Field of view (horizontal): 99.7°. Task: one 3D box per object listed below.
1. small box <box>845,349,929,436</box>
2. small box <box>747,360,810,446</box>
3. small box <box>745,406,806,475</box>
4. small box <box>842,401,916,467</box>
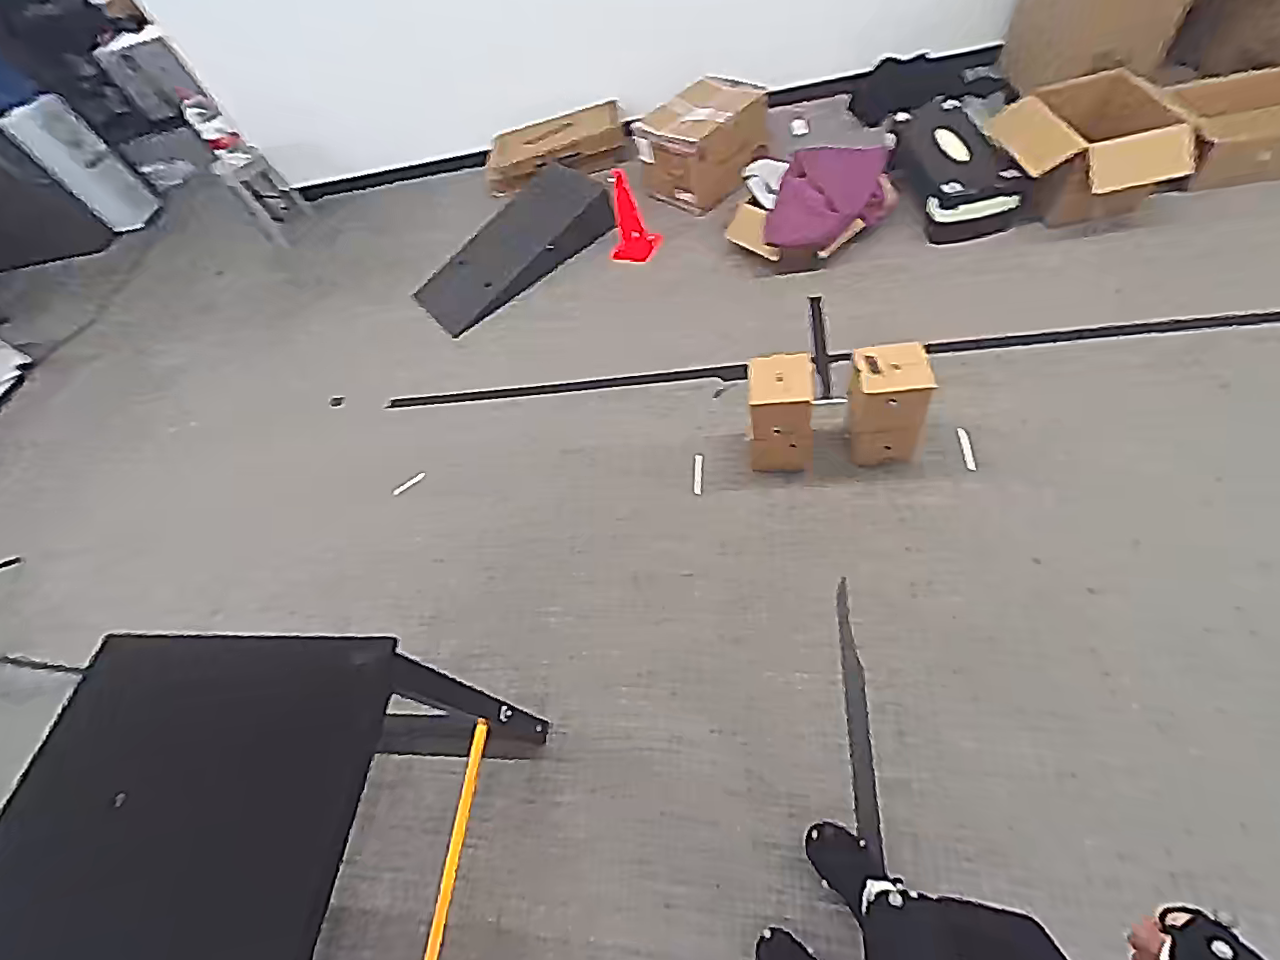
[{"bbox_3d":[0.674,-0.235,1.499,0.179,0.176,0.168,-4,56,11],"label":"small box"},{"bbox_3d":[0.396,-0.218,1.561,0.168,0.176,0.179,-3,58,14],"label":"small box"},{"bbox_3d":[0.423,-0.126,1.692,0.179,0.176,0.168,-2,57,14],"label":"small box"},{"bbox_3d":[0.715,-0.149,1.635,0.168,0.176,0.179,-5,57,11],"label":"small box"}]
